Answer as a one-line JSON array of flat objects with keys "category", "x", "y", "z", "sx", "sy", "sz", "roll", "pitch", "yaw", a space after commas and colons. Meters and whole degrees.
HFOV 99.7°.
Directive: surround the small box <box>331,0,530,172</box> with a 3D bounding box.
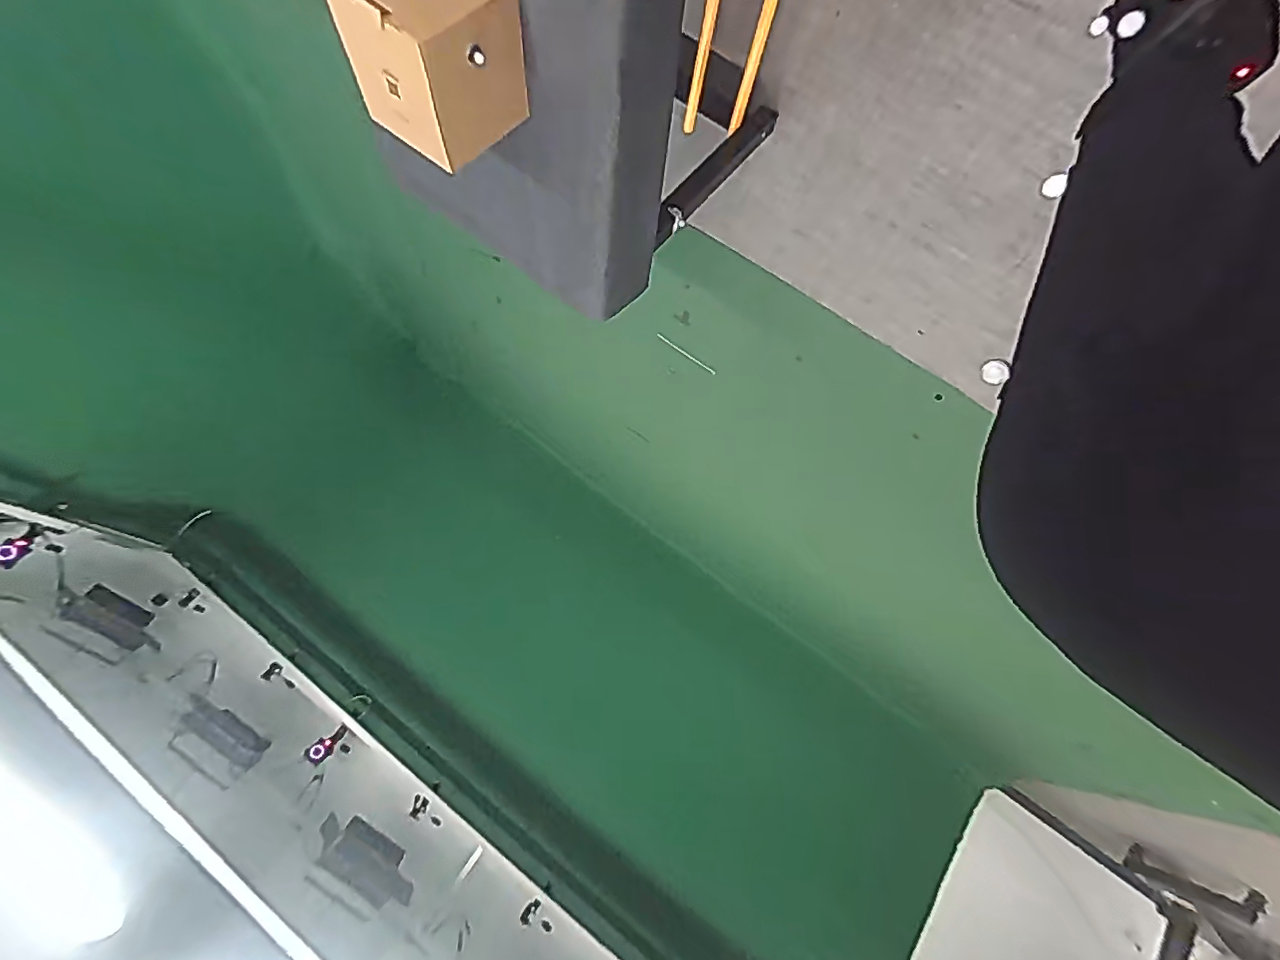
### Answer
[{"category": "small box", "x": -0.268, "y": -0.574, "z": 0.728, "sx": 0.168, "sy": 0.176, "sz": 0.179, "roll": 38, "pitch": 161, "yaw": 8}]
